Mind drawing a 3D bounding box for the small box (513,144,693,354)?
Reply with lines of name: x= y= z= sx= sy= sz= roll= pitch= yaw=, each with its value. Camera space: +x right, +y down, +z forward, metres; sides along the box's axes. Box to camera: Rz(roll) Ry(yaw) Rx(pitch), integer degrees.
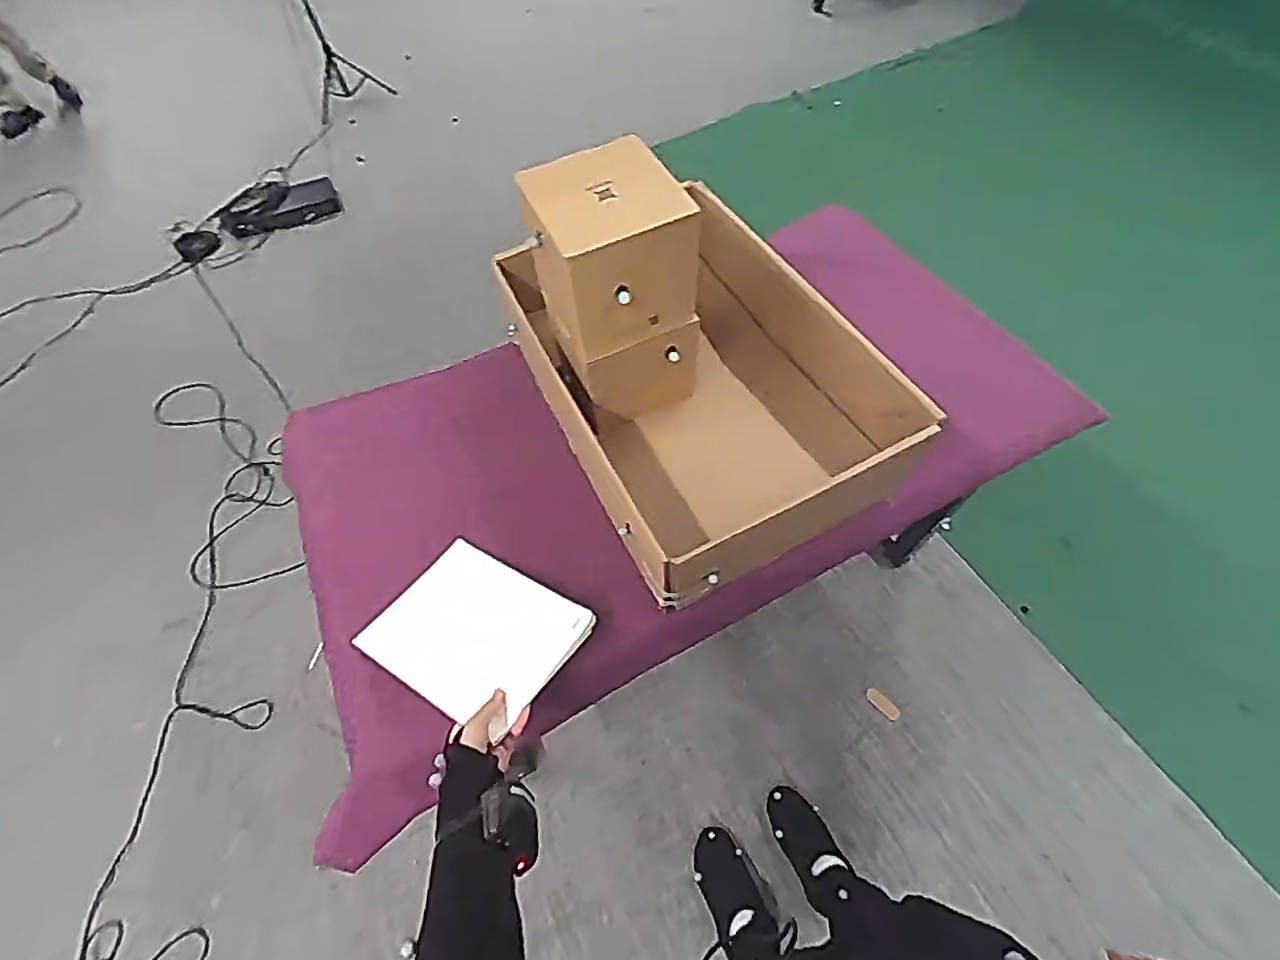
small box: x=-0.041 y=-0.287 z=0.701 sx=0.168 sy=0.176 sz=0.179 roll=-24 pitch=61 yaw=-10
